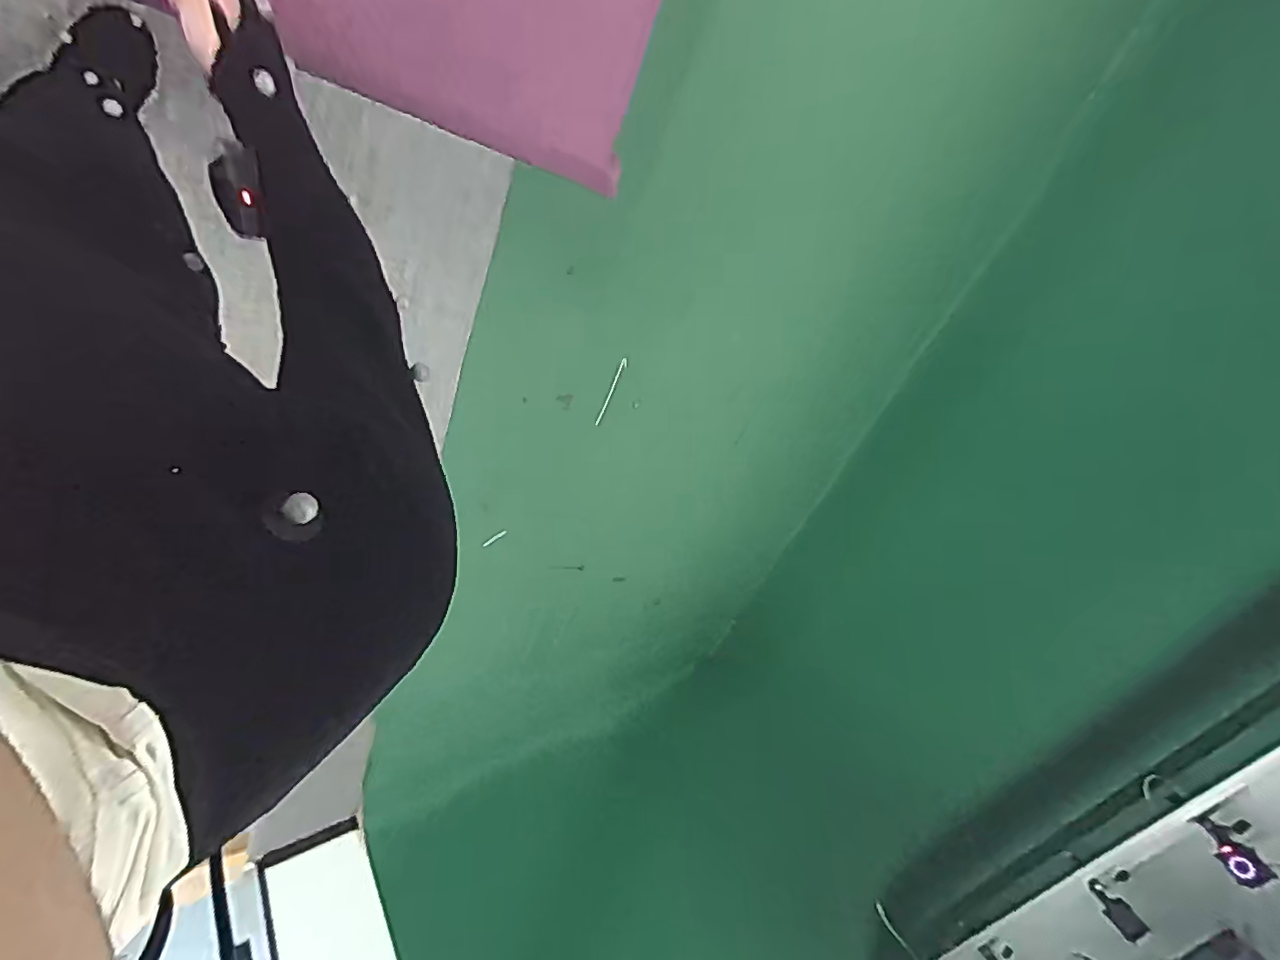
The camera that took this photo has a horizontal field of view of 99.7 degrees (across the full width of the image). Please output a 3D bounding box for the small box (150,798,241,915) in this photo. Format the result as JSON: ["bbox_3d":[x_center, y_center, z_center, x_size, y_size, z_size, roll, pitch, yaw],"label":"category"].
[{"bbox_3d":[-1.202,1.005,1.458,0.168,0.176,0.179,1,125,-47],"label":"small box"}]

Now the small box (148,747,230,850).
[{"bbox_3d":[-1.296,0.908,1.551,0.168,0.176,0.179,-1,127,-45],"label":"small box"}]
